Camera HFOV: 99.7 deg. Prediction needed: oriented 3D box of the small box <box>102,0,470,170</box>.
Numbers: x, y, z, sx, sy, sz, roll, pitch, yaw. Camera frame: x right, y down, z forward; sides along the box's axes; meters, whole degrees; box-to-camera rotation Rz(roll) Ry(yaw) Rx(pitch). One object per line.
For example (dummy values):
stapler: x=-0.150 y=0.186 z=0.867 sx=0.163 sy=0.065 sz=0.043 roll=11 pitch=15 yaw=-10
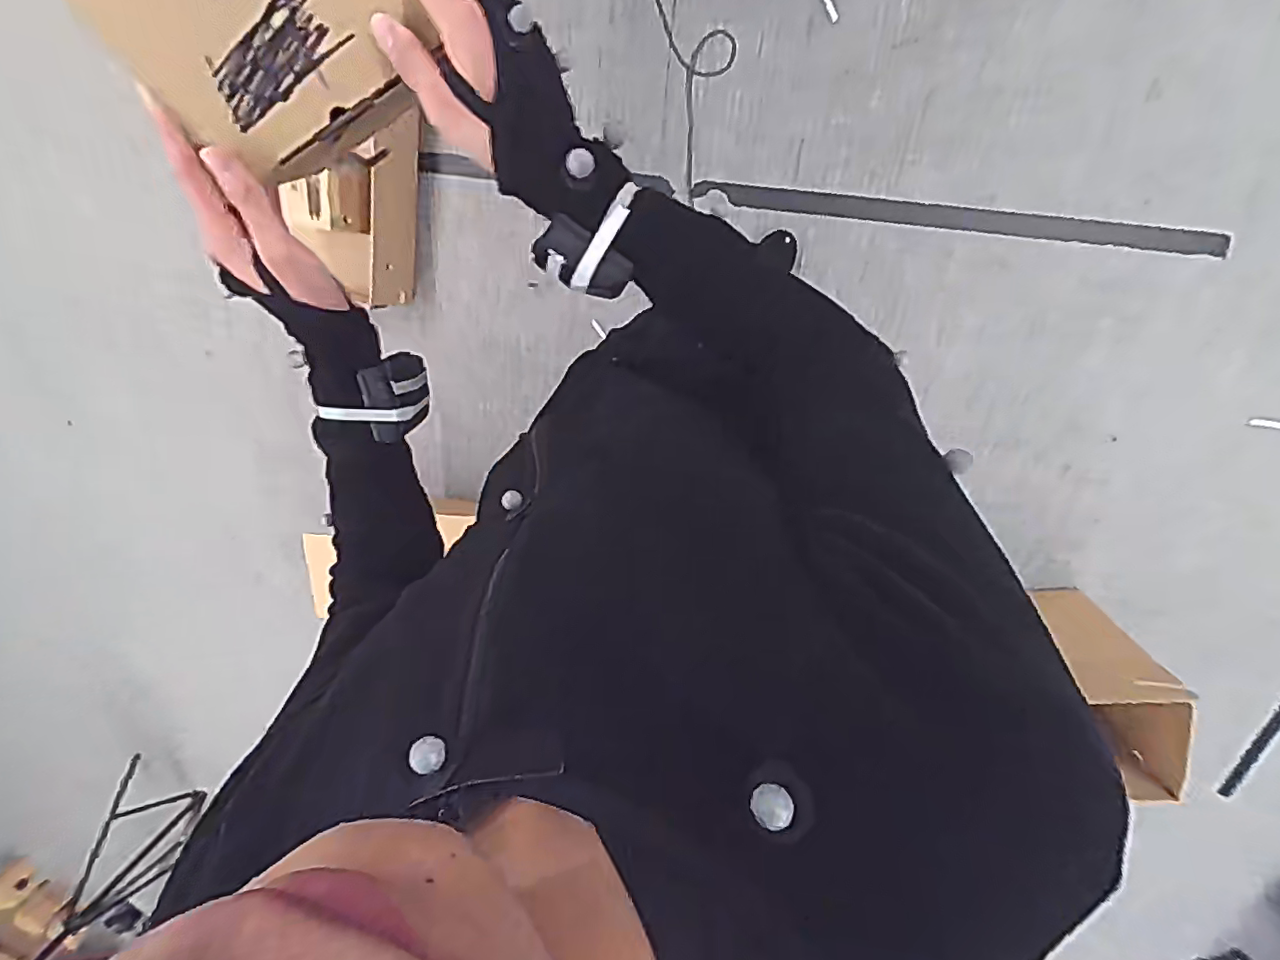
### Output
small box: x=-0.229 y=-0.336 z=0.349 sx=0.168 sy=0.176 sz=0.179 roll=-29 pitch=124 yaw=7
